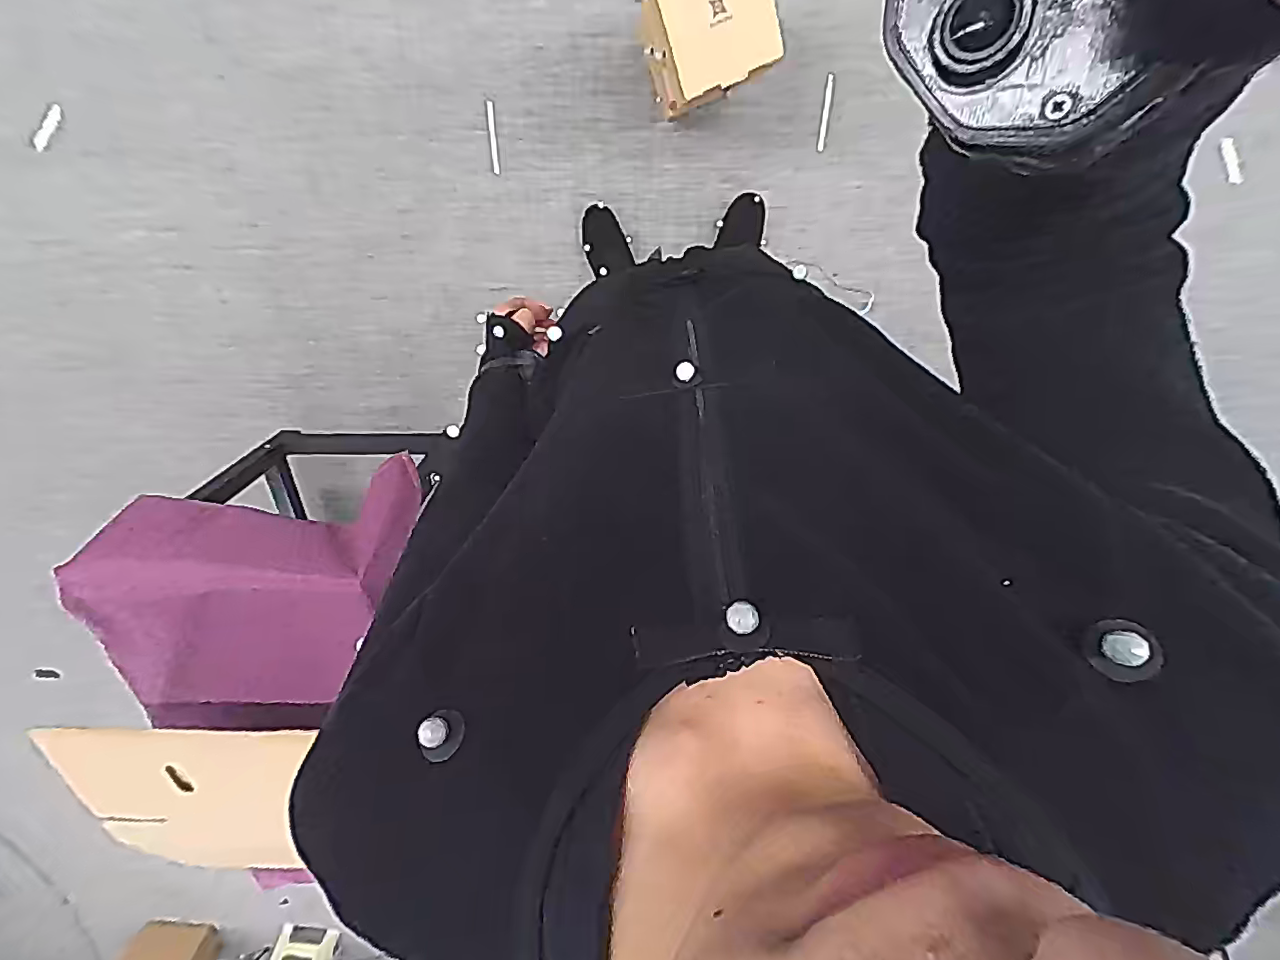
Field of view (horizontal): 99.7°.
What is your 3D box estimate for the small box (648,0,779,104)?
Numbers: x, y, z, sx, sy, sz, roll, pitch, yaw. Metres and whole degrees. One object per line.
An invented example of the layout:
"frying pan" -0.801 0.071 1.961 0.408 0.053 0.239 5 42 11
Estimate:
"small box" 0.116 -0.749 0.894 0.168 0.176 0.179 -18 119 10
